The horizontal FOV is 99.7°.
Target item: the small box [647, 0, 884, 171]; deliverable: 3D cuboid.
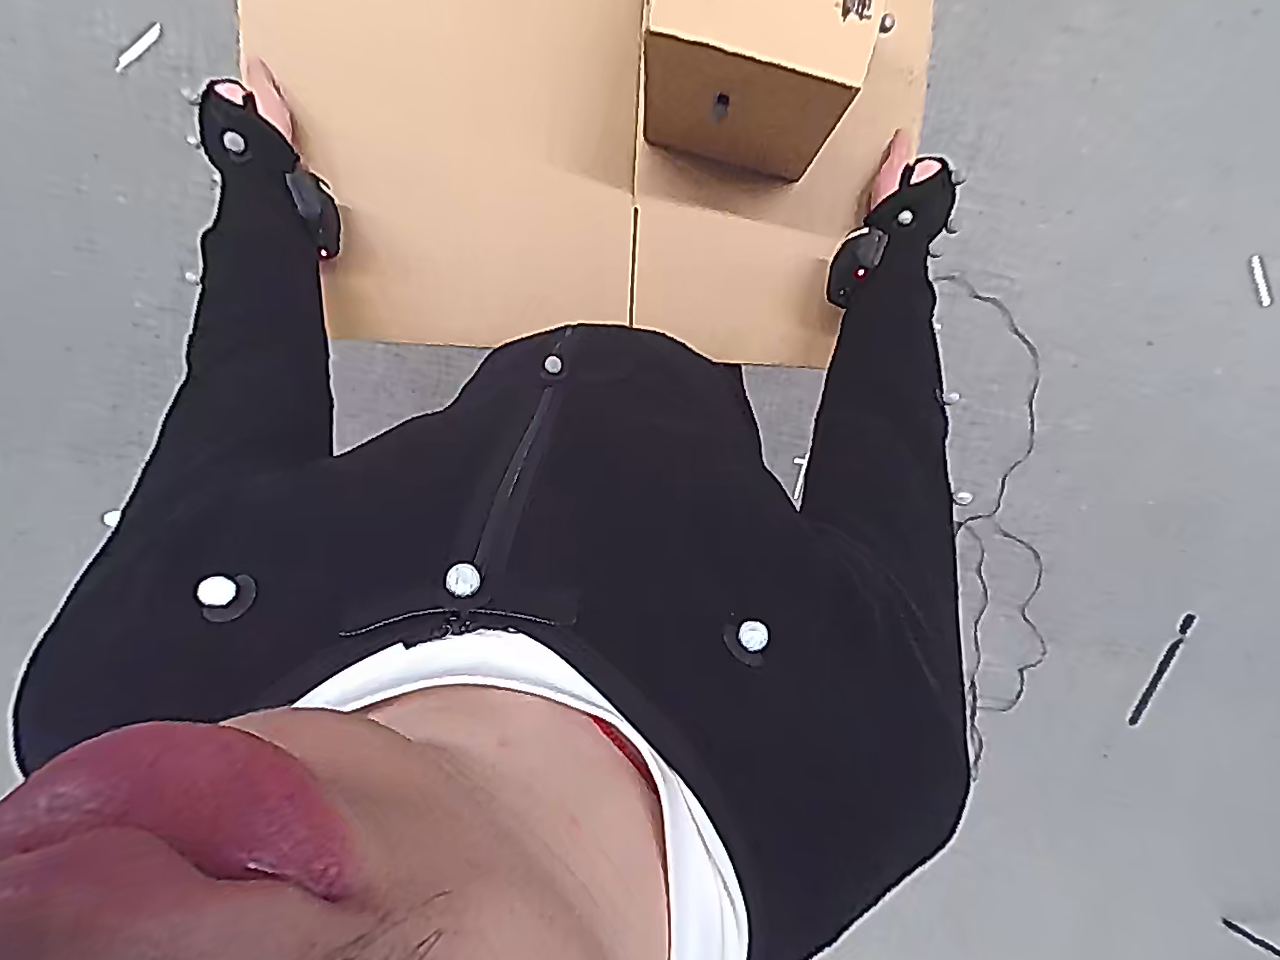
[{"bbox_3d":[0.110,-0.414,0.492,0.179,0.176,0.168,14,97,-1],"label":"small box"}]
